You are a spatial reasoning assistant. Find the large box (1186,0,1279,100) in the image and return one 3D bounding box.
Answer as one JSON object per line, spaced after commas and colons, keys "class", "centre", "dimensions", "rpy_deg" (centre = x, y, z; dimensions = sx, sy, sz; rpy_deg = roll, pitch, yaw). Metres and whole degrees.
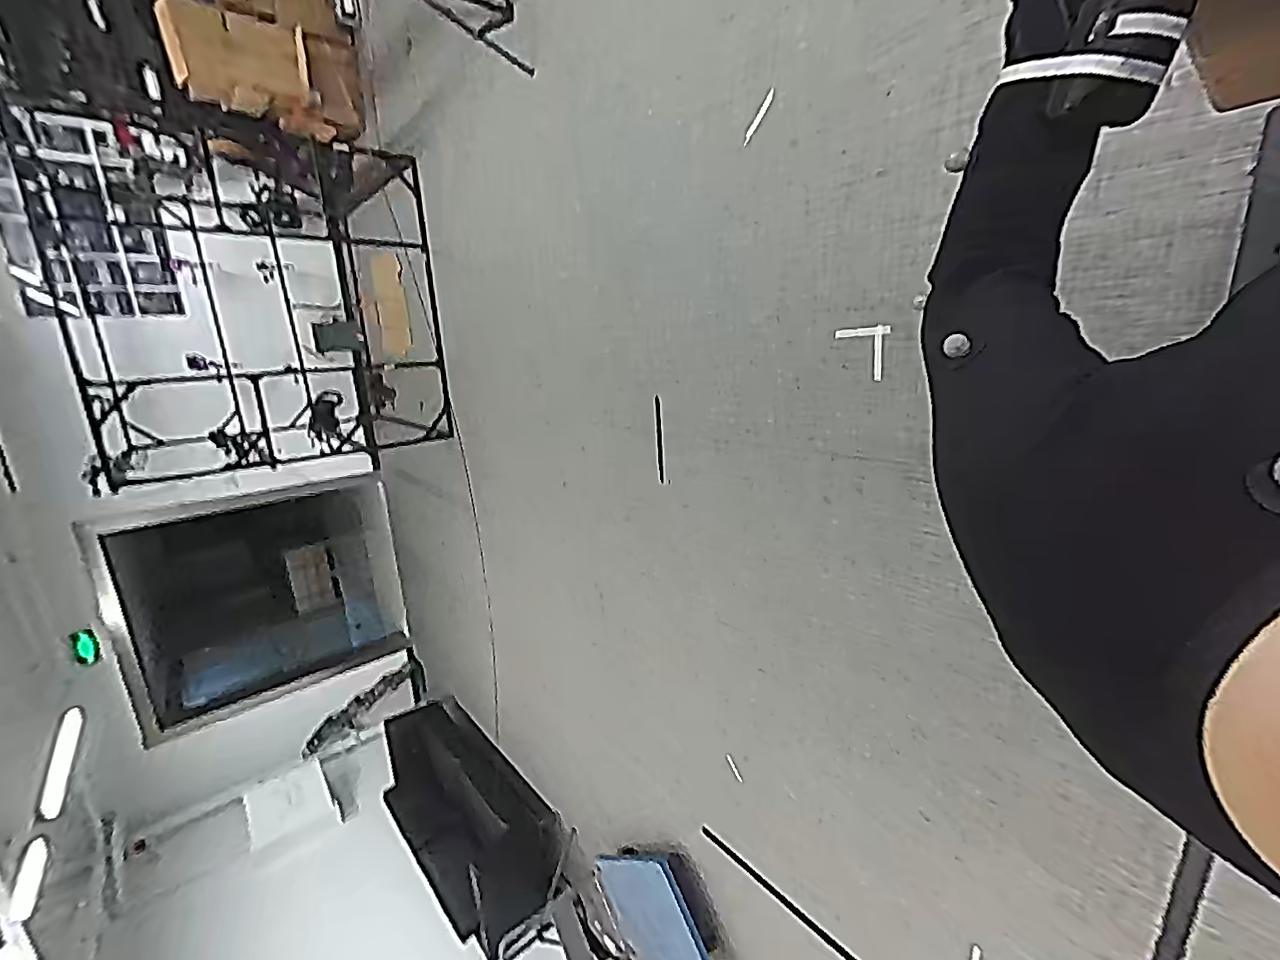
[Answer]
{"class": "large box", "centre": [0.550, -0.450, 0.239], "dimensions": [0.408, 0.320, 0.320], "rpy_deg": [12, 111, 48]}
